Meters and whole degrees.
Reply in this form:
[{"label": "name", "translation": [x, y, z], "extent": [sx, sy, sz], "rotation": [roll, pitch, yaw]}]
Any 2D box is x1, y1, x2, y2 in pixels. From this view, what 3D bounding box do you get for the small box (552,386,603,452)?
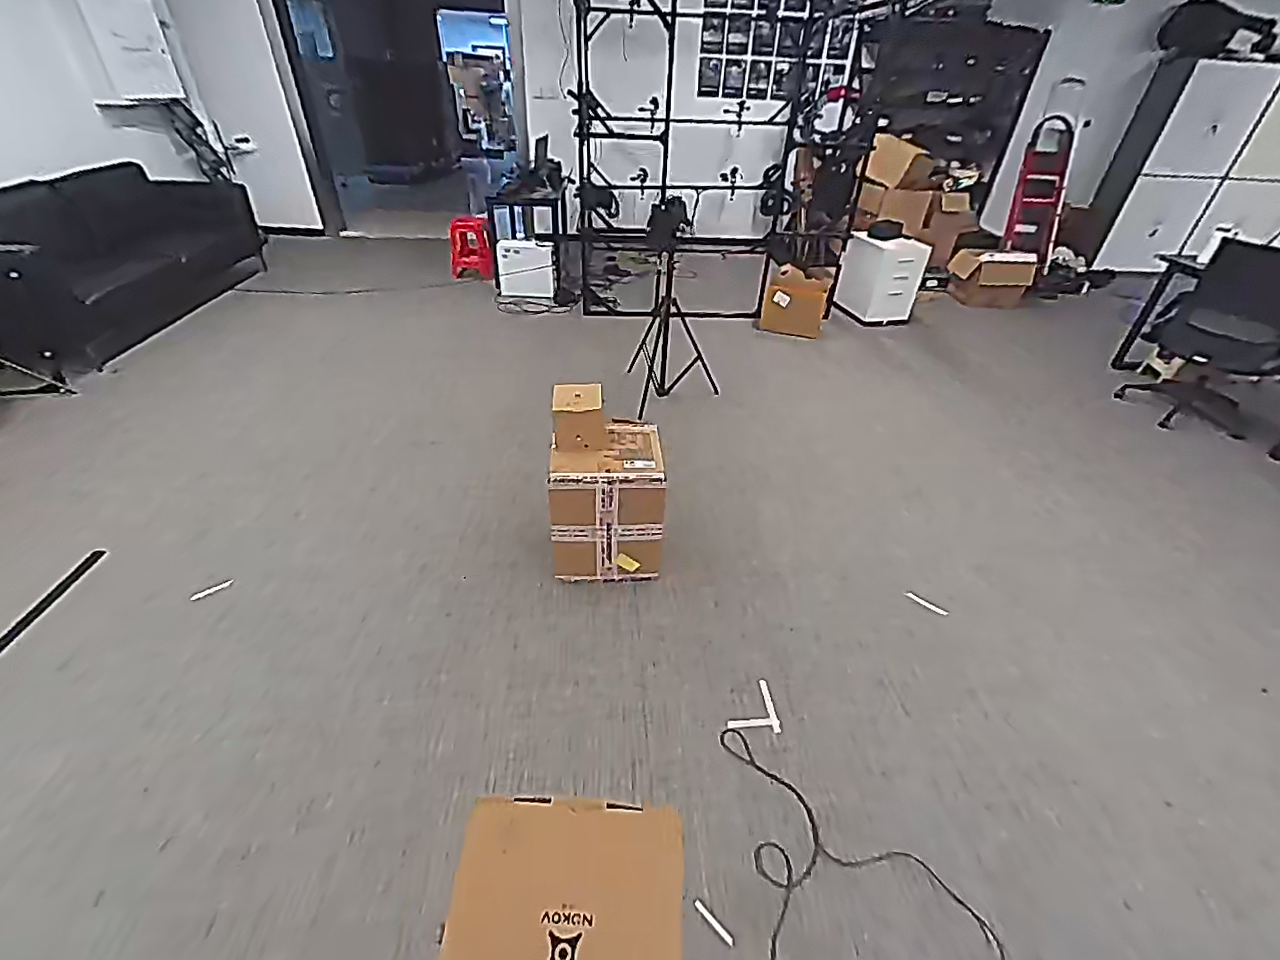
[{"label": "small box", "translation": [-0.214, -0.213, 1.891], "extent": [0.168, 0.176, 0.179], "rotation": [-2, 40, -3]}]
